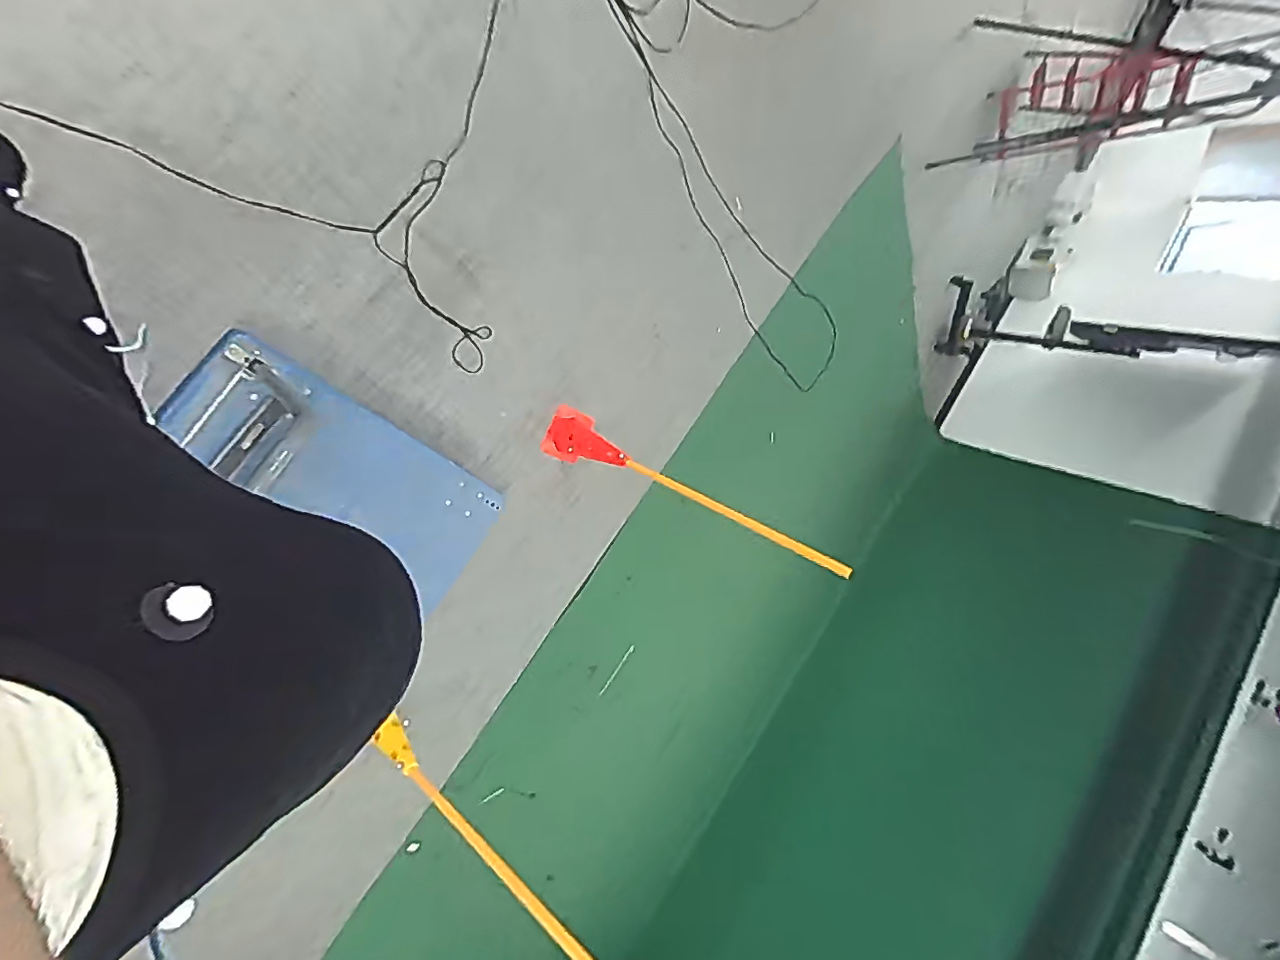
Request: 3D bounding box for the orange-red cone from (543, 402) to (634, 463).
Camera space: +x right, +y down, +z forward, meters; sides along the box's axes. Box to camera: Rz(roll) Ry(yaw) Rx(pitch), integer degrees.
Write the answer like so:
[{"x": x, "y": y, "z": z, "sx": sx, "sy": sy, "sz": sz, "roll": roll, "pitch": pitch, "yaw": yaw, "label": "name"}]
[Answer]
[{"x": -0.158, "y": -0.135, "z": 2.013, "sx": 0.198, "sy": 0.360, "sz": 0.199, "roll": 25, "pitch": 89, "yaw": -51, "label": "orange-red cone"}]
